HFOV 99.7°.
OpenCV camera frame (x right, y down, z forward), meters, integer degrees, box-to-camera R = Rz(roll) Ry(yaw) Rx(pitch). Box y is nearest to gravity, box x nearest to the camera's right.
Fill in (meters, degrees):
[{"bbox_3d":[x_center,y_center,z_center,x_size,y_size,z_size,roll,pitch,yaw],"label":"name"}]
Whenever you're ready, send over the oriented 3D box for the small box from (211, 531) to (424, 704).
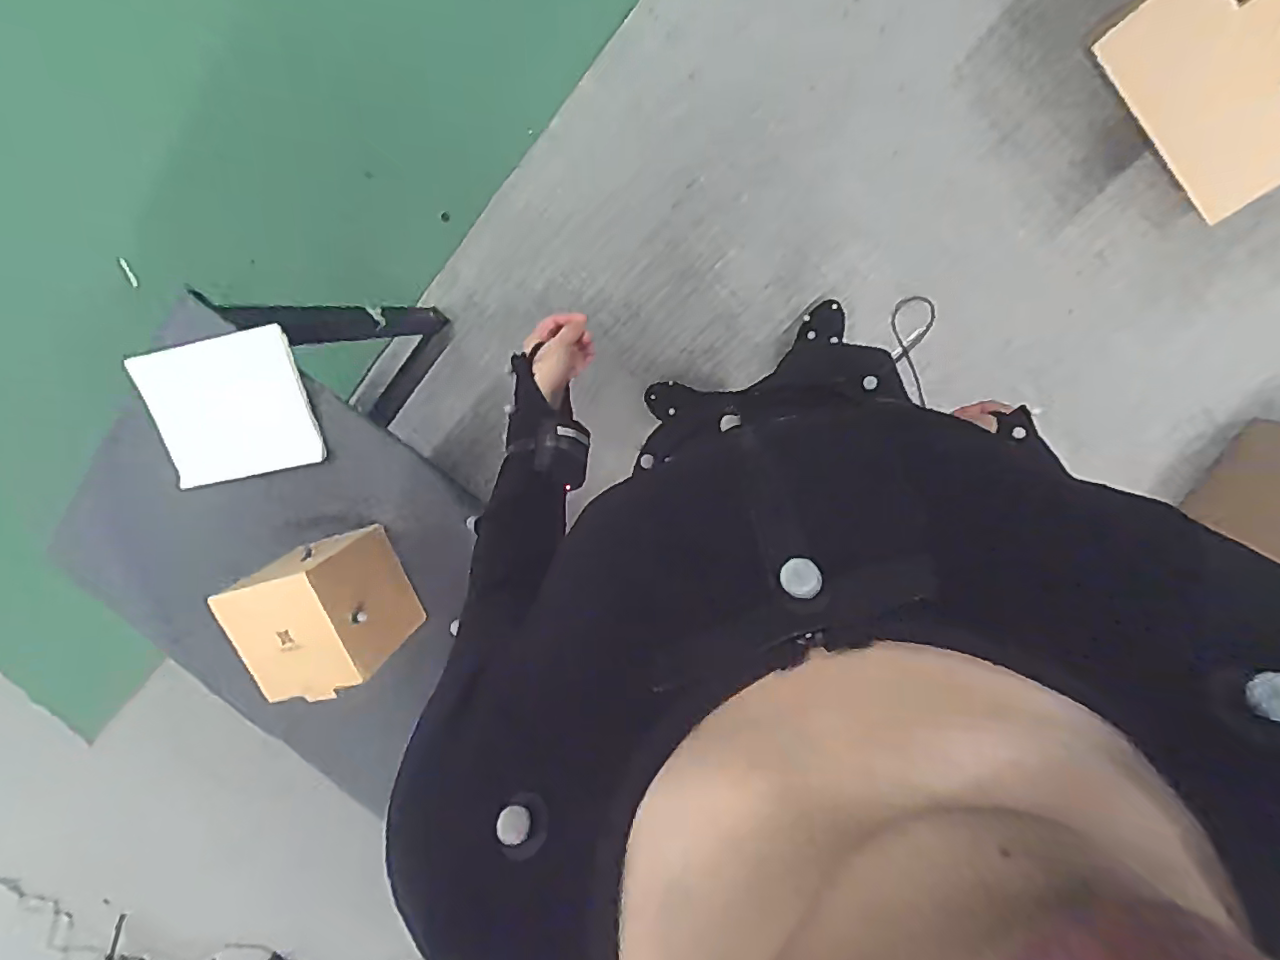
[{"bbox_3d":[-0.454,0.188,0.791,0.168,0.176,0.179,-16,106,12],"label":"small box"}]
